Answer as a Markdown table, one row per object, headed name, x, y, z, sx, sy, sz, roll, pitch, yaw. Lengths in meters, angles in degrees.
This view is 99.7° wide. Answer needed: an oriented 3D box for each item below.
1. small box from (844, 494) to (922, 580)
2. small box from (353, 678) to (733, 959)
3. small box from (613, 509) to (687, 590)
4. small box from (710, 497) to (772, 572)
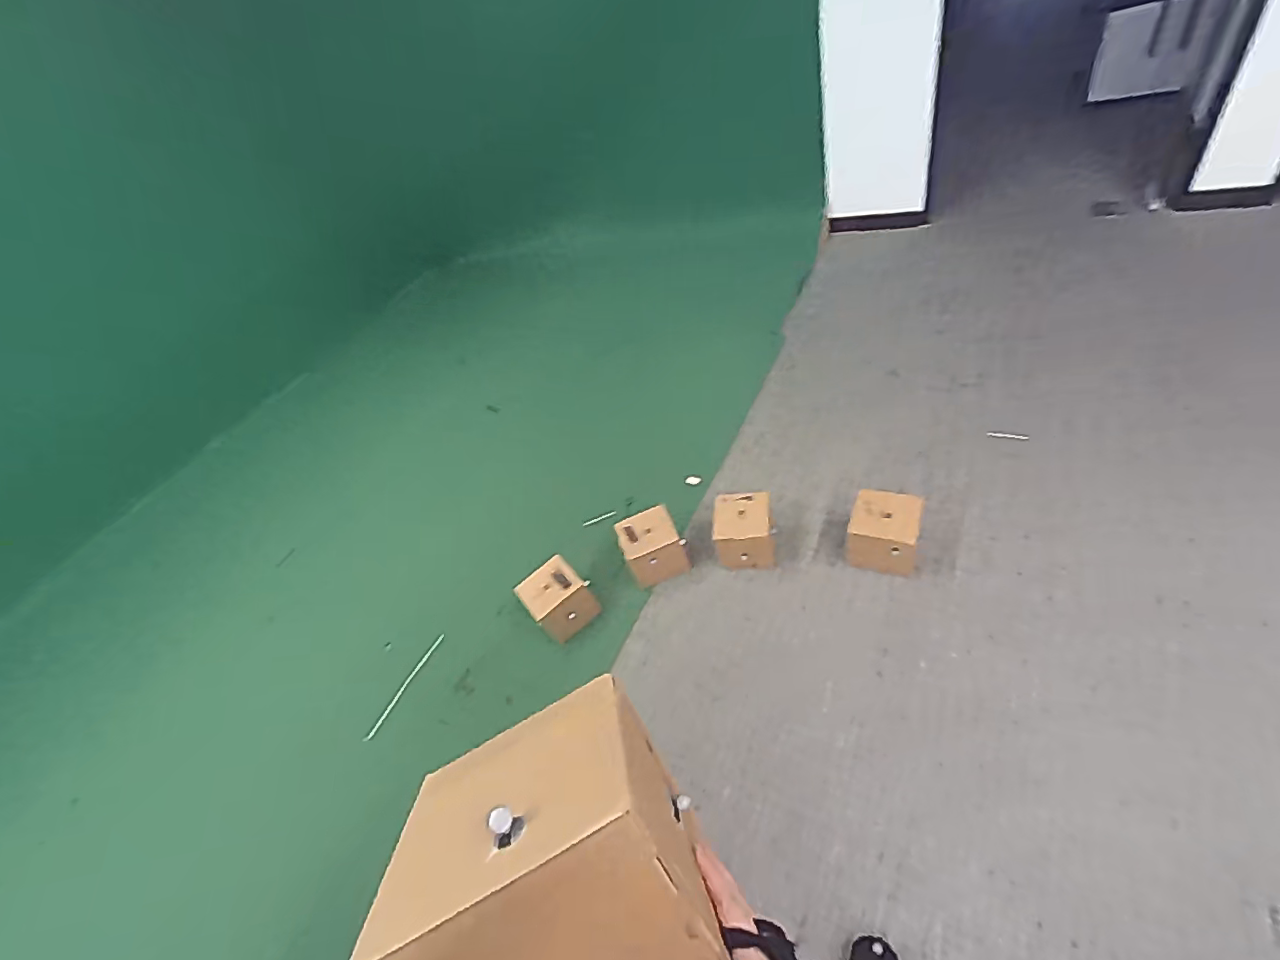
| name | x | y | z | sx | sy | sz | roll | pitch | yaw |
| --- | --- | --- | --- | --- | --- | --- | --- | --- | --- |
| small box | 0.695 | 0.166 | 1.554 | 0.179 | 0.176 | 0.168 | 10 | 52 | 28 |
| small box | -0.051 | 0.277 | 0.379 | 0.179 | 0.168 | 0.176 | -27 | 8 | -4 |
| small box | 0.034 | 0.230 | 1.756 | 0.179 | 0.176 | 0.168 | -22 | 44 | -1 |
| small box | 0.322 | 0.175 | 1.694 | 0.168 | 0.176 | 0.179 | -4 | 48 | 18 |
